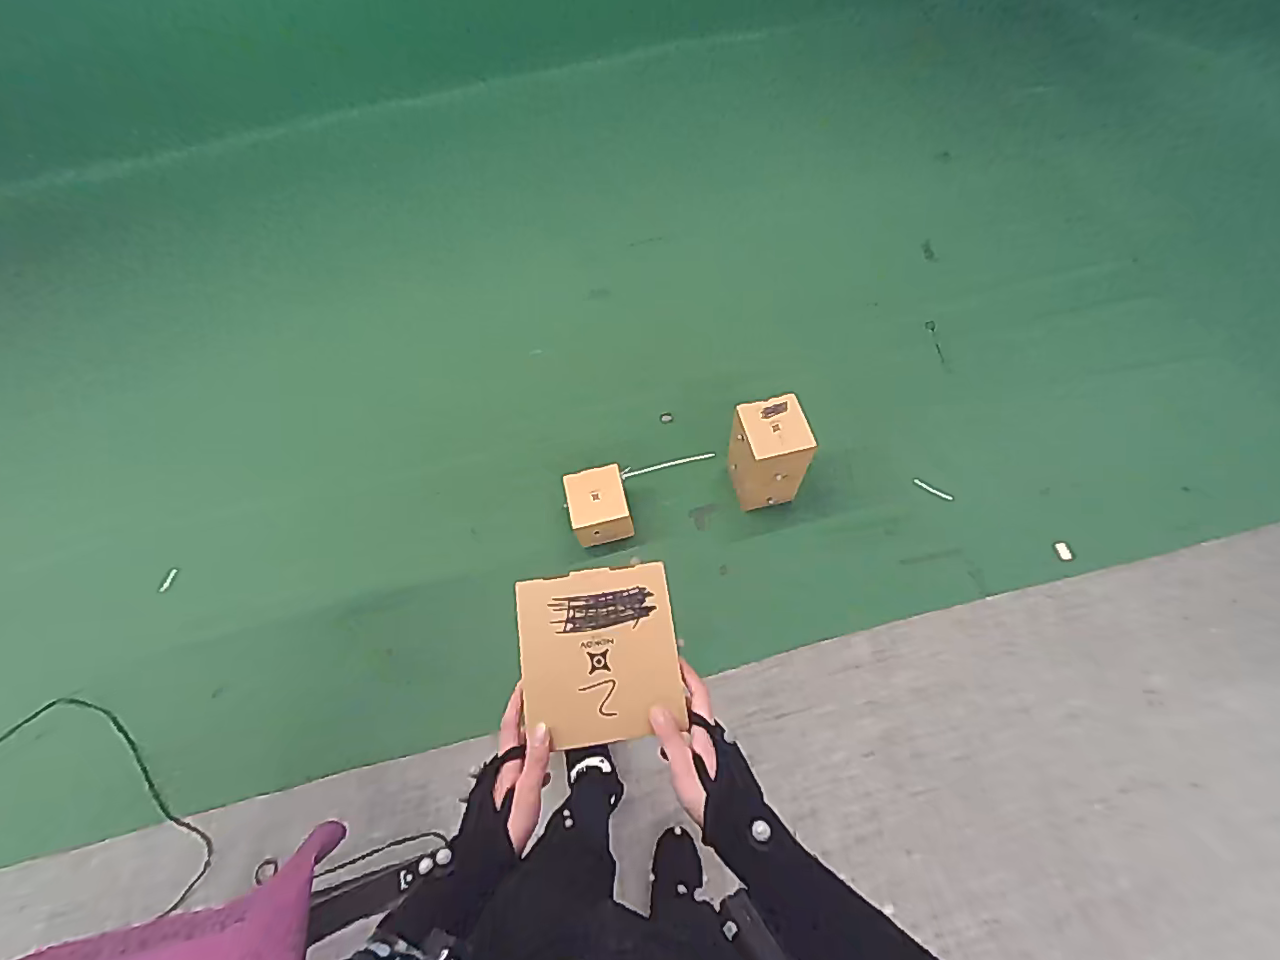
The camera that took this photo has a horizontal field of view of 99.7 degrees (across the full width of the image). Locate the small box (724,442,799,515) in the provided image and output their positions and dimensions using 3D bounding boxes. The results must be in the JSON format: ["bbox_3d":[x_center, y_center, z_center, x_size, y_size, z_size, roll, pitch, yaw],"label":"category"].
[{"bbox_3d":[0.360,-0.016,1.640,0.168,0.176,0.179,-12,63,-3],"label":"small box"}]

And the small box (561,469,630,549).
[{"bbox_3d":[-0.130,0.094,1.616,0.168,0.176,0.179,-13,62,-3],"label":"small box"}]

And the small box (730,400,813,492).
[{"bbox_3d":[0.354,-0.092,1.495,0.168,0.176,0.179,-13,63,-3],"label":"small box"}]
